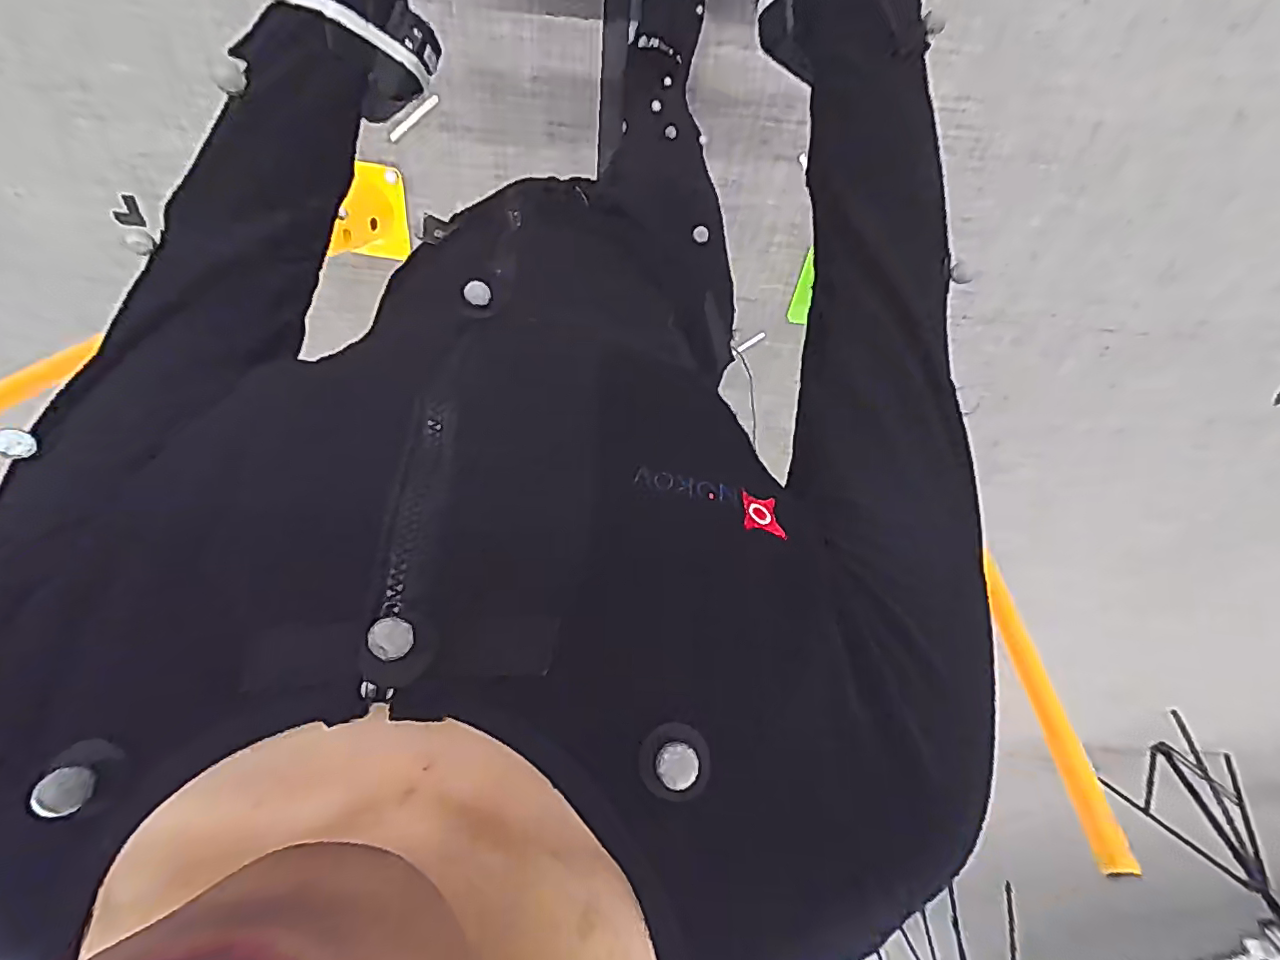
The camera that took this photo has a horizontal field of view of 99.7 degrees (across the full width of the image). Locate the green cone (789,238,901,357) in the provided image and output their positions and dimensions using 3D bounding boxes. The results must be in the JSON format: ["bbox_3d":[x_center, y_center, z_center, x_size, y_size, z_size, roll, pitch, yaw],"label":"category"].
[{"bbox_3d":[0.479,-0.364,1.180,0.202,0.368,0.200,7,129,-5],"label":"green cone"}]
